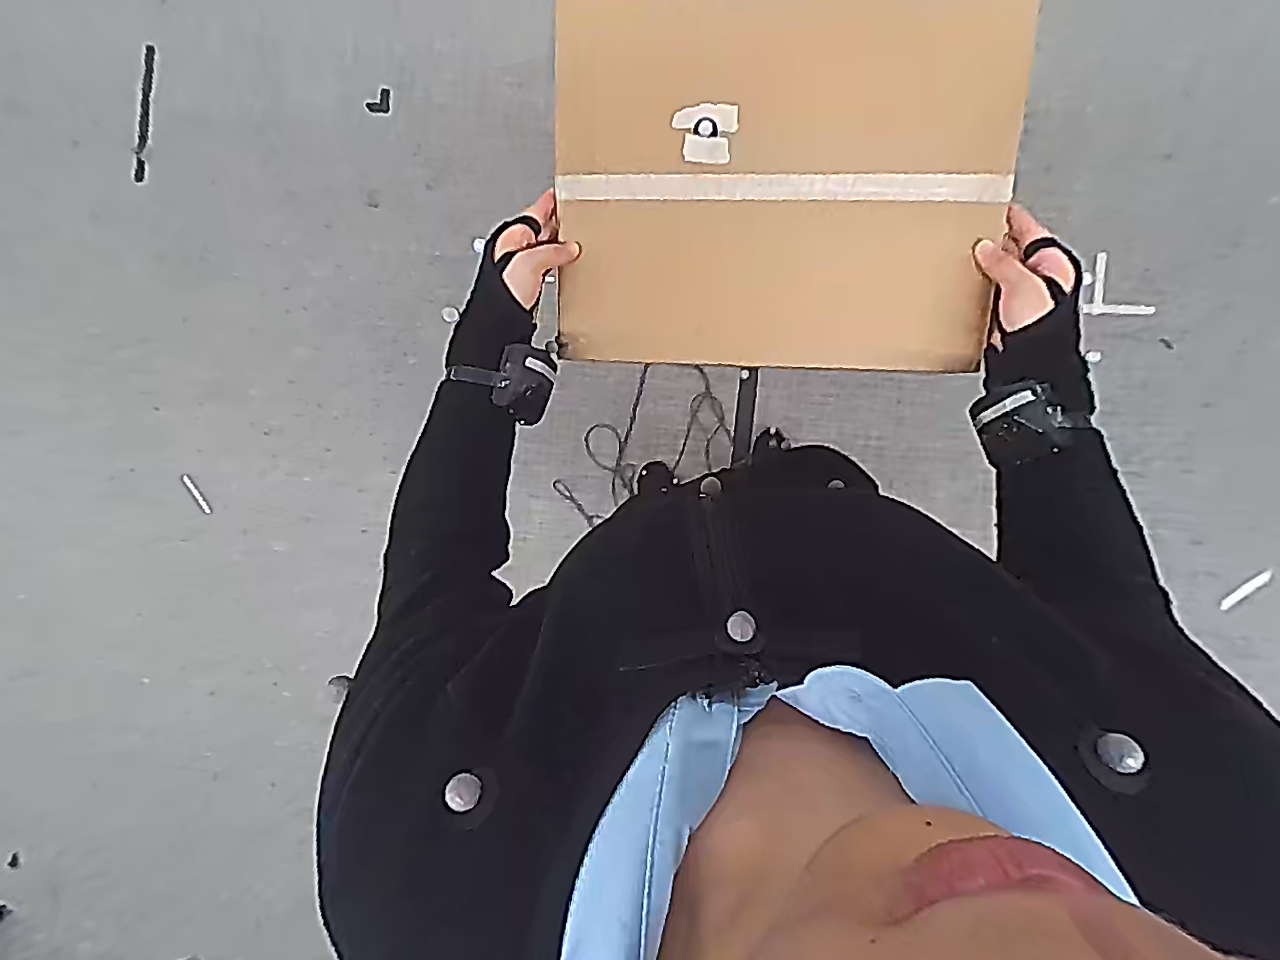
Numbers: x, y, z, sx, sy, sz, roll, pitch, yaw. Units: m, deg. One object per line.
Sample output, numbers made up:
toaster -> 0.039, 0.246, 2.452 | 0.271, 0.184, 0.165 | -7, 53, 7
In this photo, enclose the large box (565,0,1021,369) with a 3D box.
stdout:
large box -> 0.143, -0.297, 0.652 | 0.408, 0.320, 0.320 | 2, 101, 5
